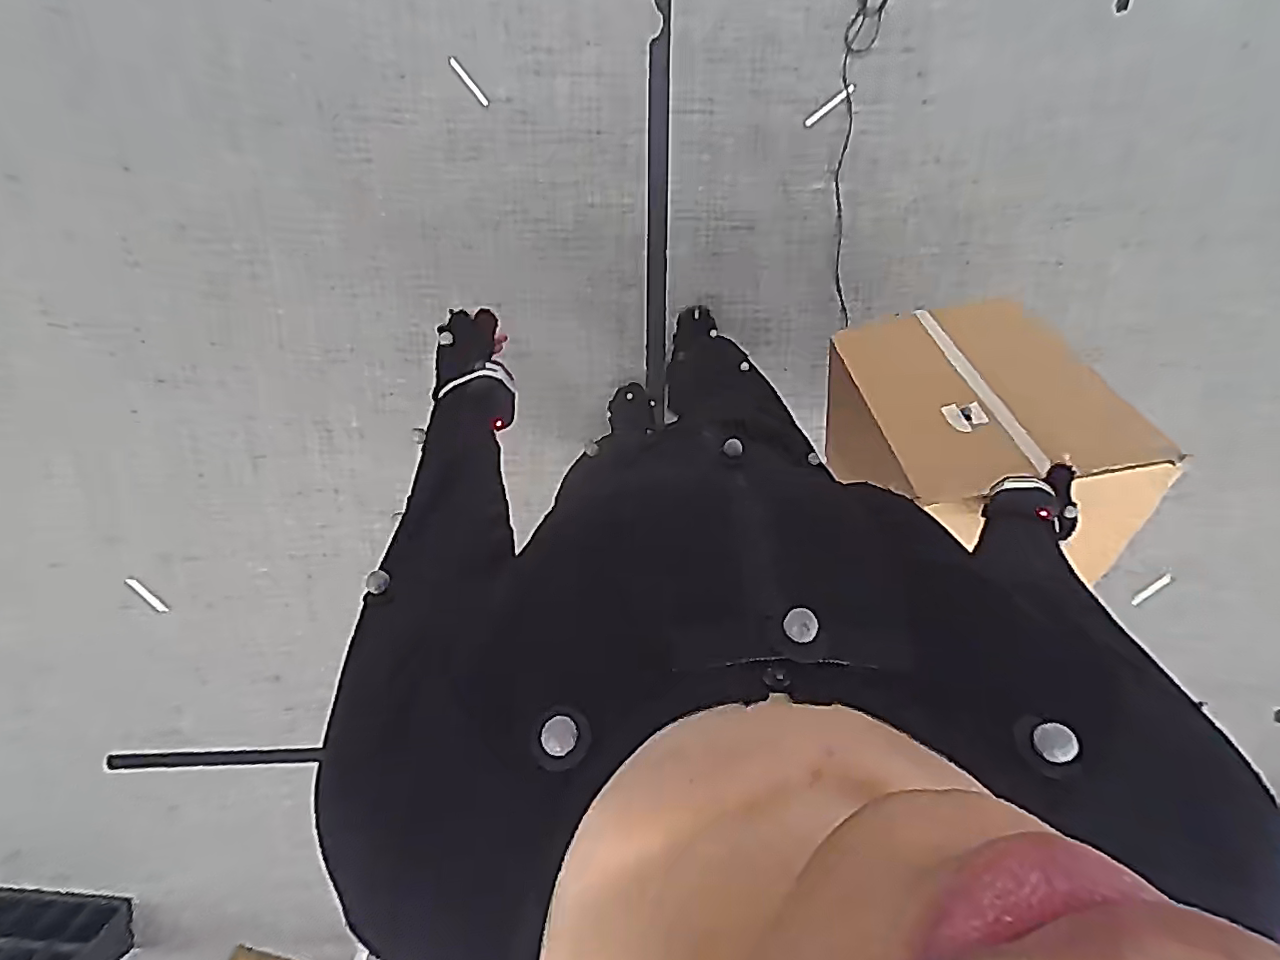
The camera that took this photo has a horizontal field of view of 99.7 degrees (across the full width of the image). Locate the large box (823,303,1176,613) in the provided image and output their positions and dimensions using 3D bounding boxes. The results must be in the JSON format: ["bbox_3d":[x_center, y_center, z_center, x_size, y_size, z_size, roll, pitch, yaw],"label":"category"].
[{"bbox_3d":[0.535,-0.039,0.930,0.320,0.408,0.320,-12,138,6],"label":"large box"}]
